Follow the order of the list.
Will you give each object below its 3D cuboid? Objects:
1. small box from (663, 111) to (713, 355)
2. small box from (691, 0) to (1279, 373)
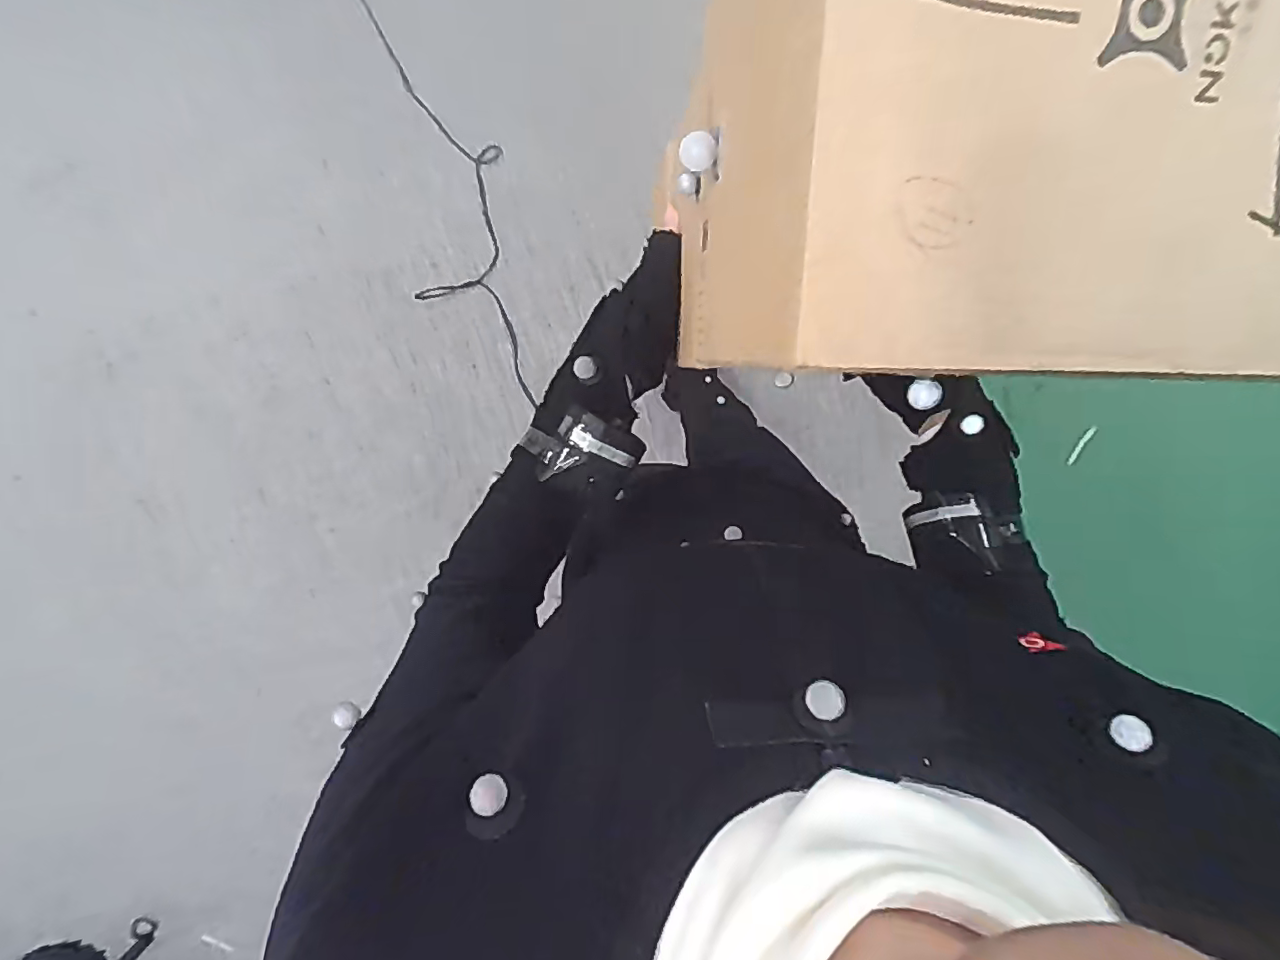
[{"bbox_3d":[0.115,-0.170,0.373,0.179,0.176,0.168,0,102,-4],"label":"small box"},{"bbox_3d":[0.122,-0.133,0.214,0.179,0.176,0.168,-3,104,-4],"label":"small box"}]
